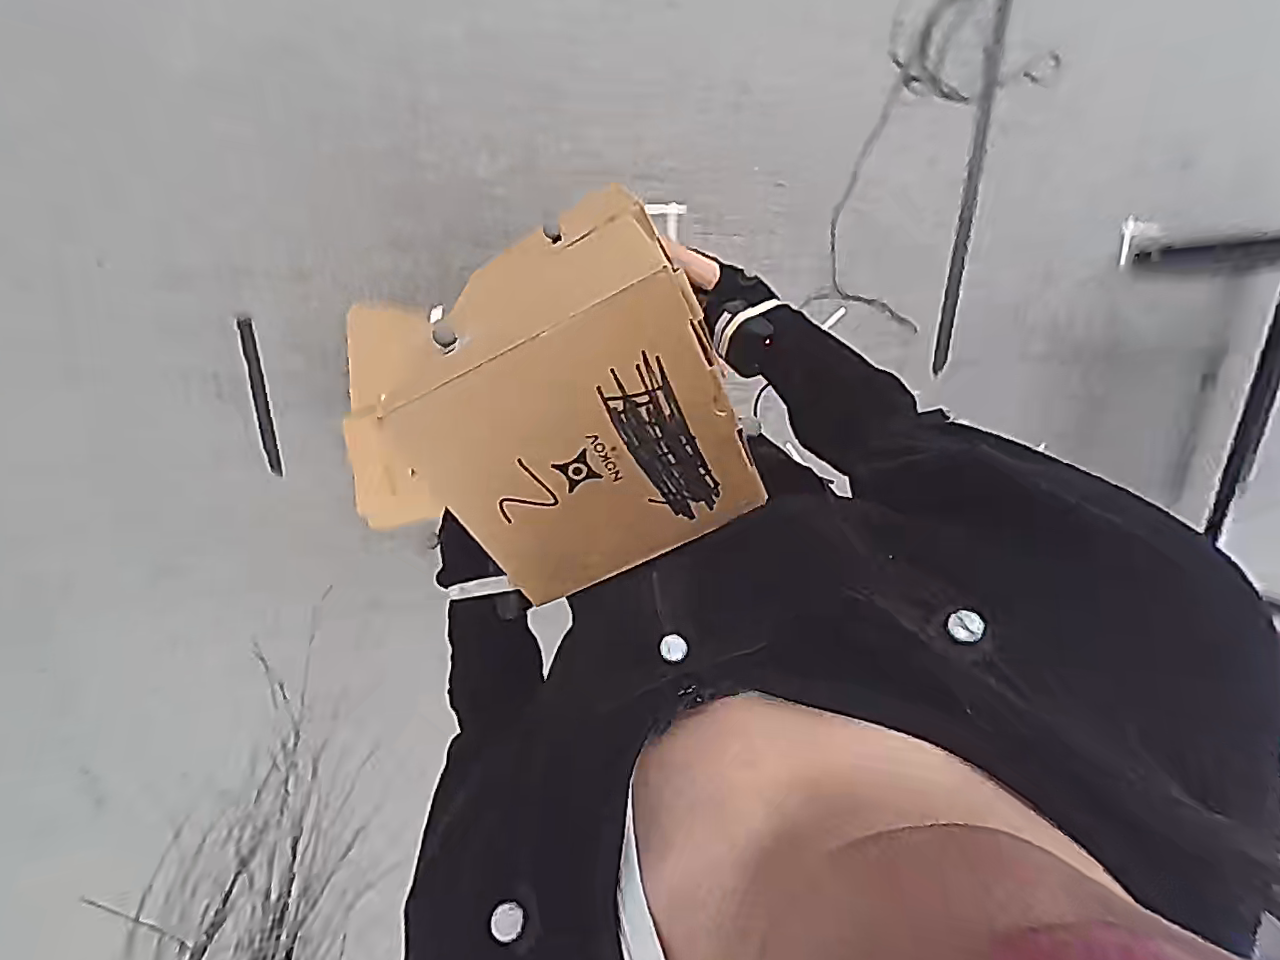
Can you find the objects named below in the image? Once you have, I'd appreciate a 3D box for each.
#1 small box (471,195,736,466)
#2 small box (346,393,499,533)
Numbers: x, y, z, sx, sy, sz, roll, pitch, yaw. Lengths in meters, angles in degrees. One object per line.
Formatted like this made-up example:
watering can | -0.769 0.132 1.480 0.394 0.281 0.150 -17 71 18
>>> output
small box | -0.037 -0.151 0.519 0.179 0.176 0.168 -28 121 7
small box | -0.323 -0.037 0.841 0.179 0.176 0.168 -11 107 -10
